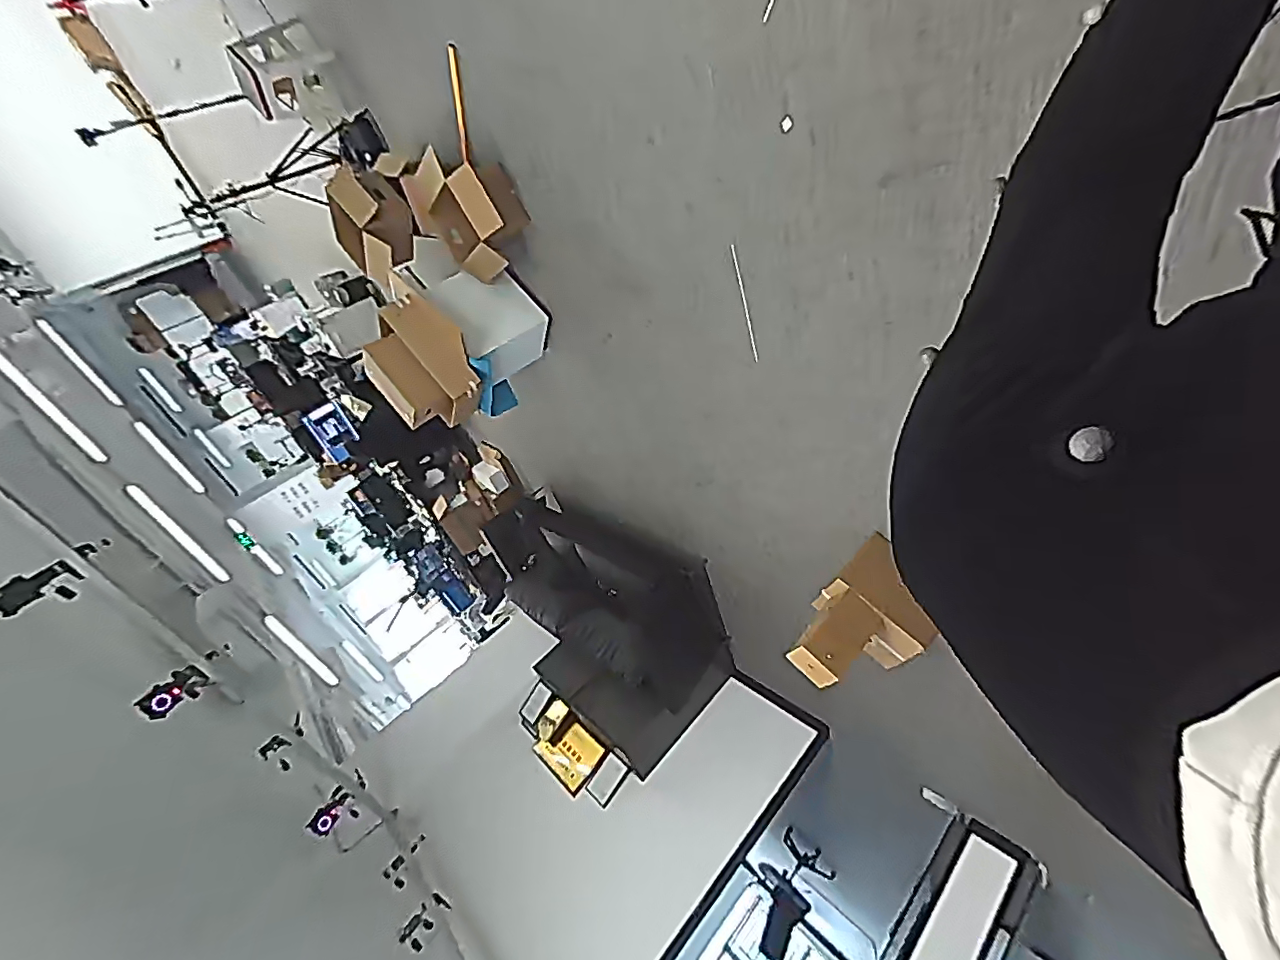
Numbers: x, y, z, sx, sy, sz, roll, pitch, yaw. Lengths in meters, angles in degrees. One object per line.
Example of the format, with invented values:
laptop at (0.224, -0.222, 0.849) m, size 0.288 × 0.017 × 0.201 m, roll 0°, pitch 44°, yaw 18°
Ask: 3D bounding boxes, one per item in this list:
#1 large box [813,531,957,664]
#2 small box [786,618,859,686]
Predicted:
large box at (1.027, 0.496, 2.296) m, size 0.408 × 0.320 × 0.320 m, roll 40°, pitch 153°, yaw 18°
small box at (0.703, 0.657, 2.086) m, size 0.179 × 0.176 × 0.168 m, roll 41°, pitch 152°, yaw 15°
